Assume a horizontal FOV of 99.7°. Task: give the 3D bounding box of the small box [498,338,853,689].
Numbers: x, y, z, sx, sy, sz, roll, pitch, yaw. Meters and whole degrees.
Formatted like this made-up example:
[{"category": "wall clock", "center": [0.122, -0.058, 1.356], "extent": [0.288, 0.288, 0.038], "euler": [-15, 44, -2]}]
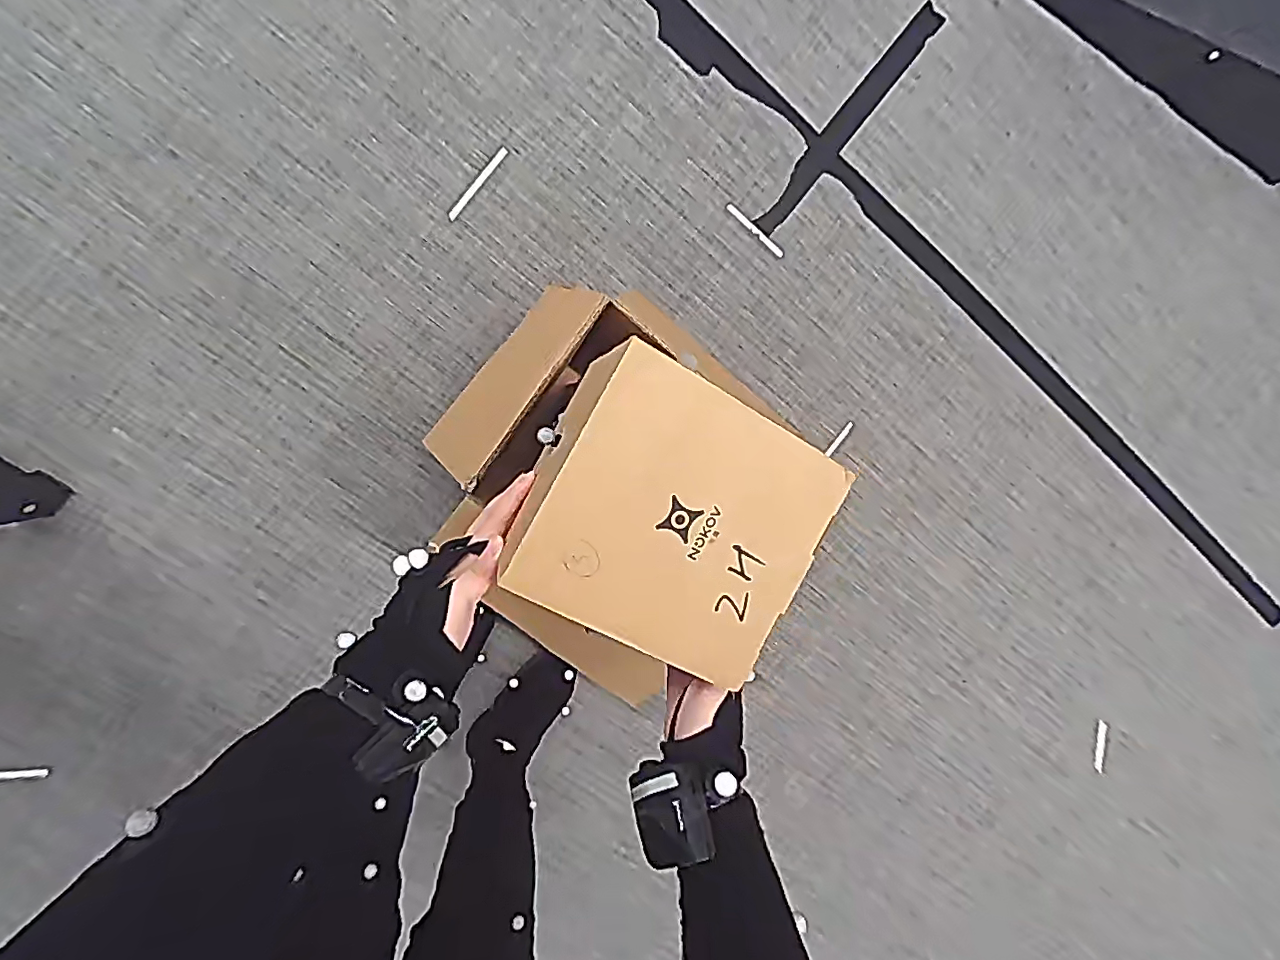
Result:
[{"category": "small box", "center": [0.012, 0.018, 0.411], "extent": [0.179, 0.176, 0.168], "euler": [30, 91, -15]}]
